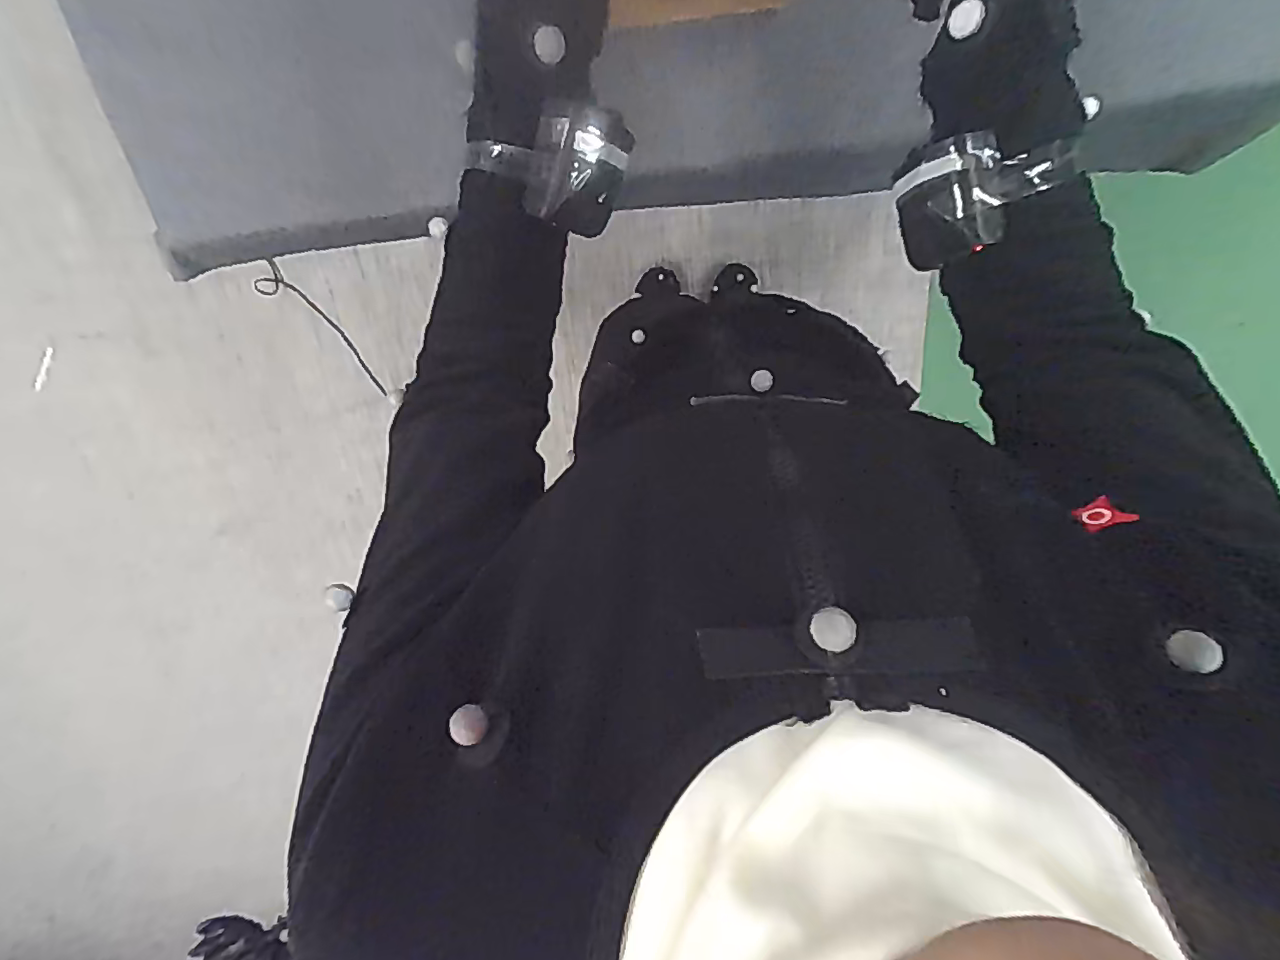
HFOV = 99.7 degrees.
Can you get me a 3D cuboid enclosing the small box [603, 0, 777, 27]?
[{"bbox_3d":[0.045,-0.489,0.420,0.179,0.176,0.168,-5,113,2],"label":"small box"}]
